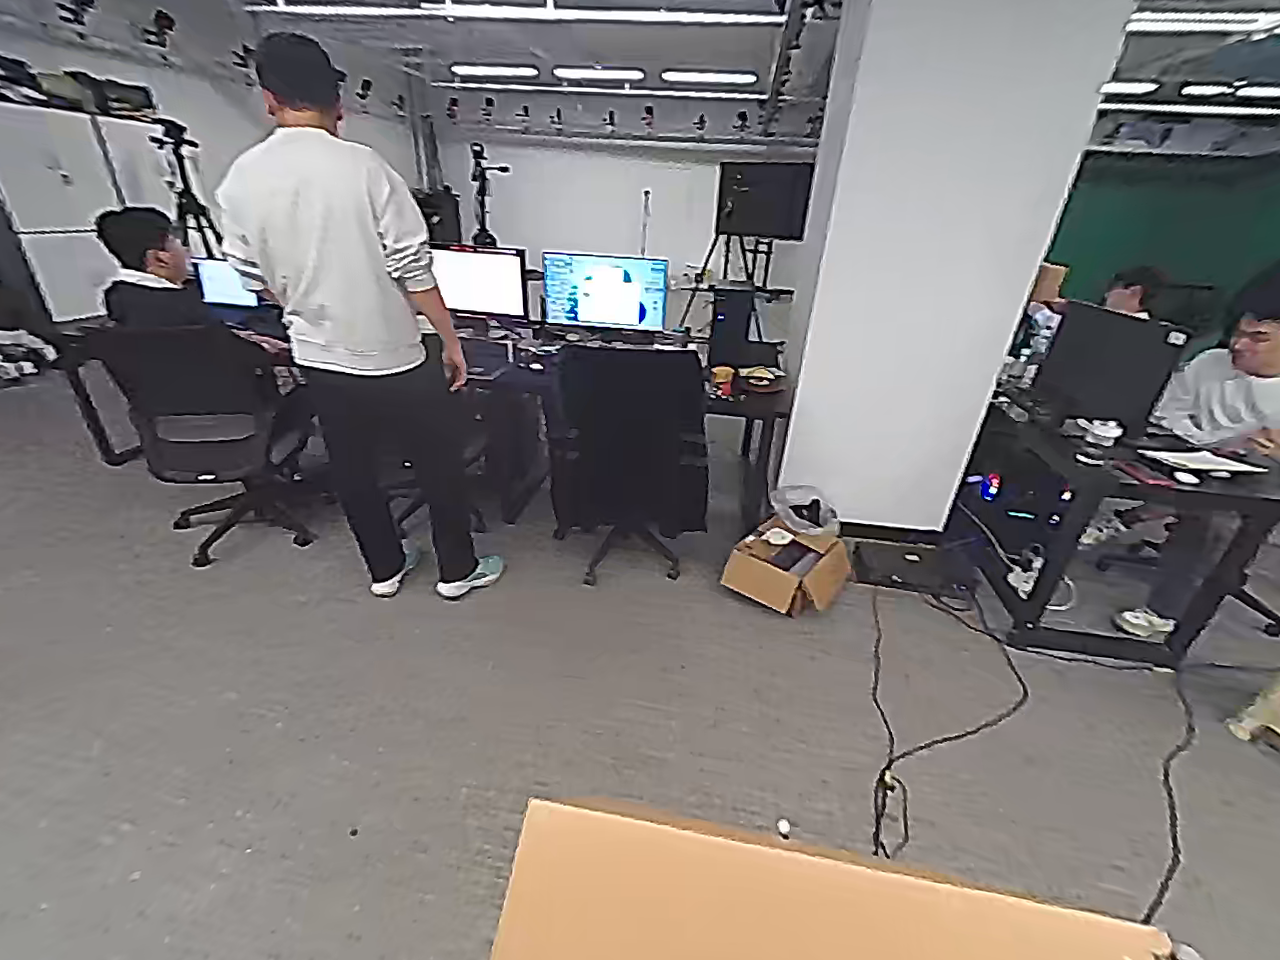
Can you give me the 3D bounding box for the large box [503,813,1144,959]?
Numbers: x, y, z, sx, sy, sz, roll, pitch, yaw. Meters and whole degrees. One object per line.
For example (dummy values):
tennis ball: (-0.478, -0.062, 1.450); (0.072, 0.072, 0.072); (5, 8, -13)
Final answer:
large box: (0.105, 0.468, 0.422); (0.408, 0.320, 0.320); (6, 61, 8)
